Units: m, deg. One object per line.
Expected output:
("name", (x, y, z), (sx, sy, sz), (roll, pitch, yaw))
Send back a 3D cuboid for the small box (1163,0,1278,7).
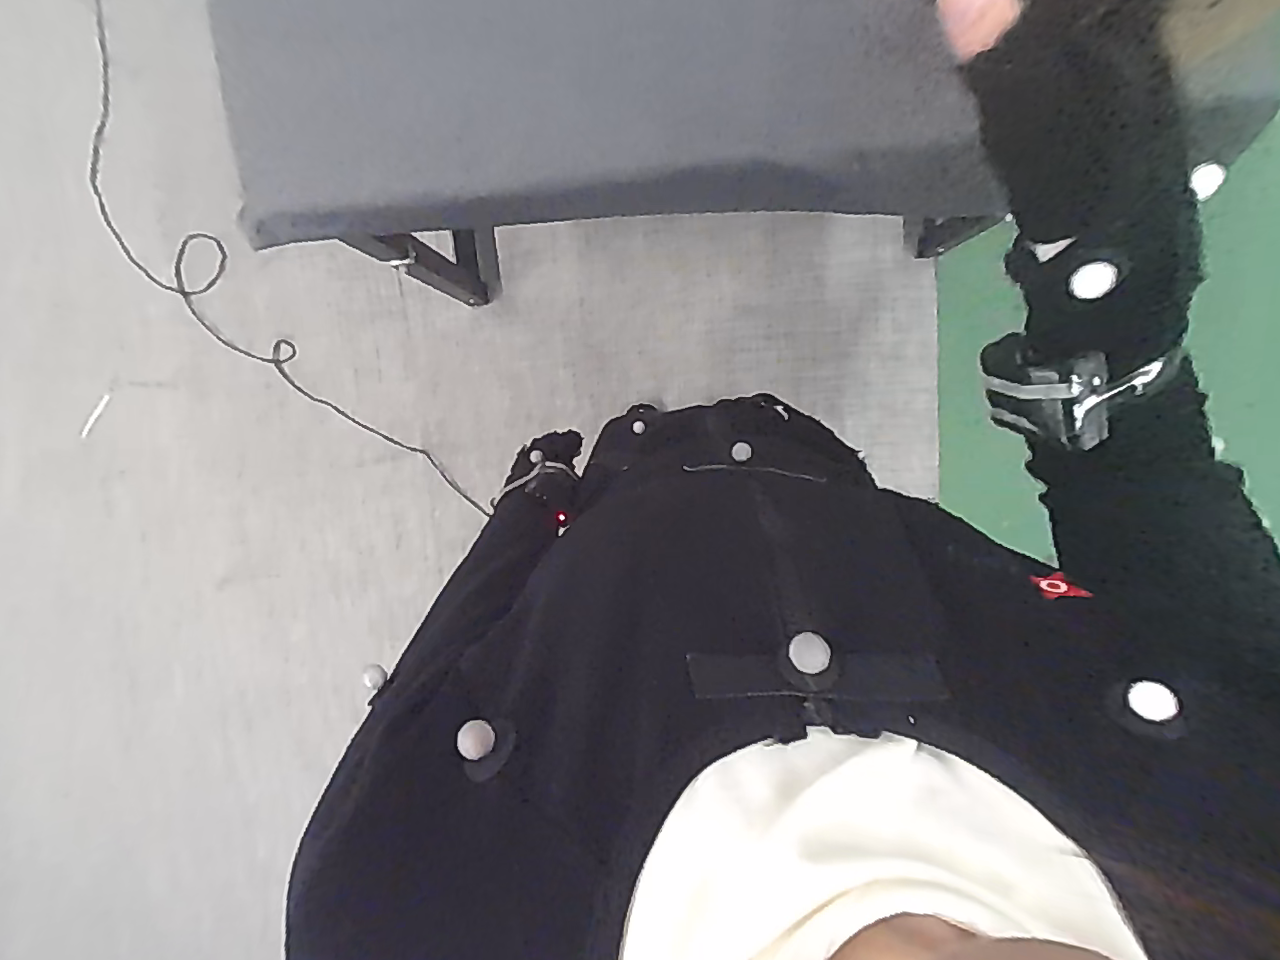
("small box", (0.472, -0.485, 0.372), (0.168, 0.176, 0.179), (4, 99, 3))
